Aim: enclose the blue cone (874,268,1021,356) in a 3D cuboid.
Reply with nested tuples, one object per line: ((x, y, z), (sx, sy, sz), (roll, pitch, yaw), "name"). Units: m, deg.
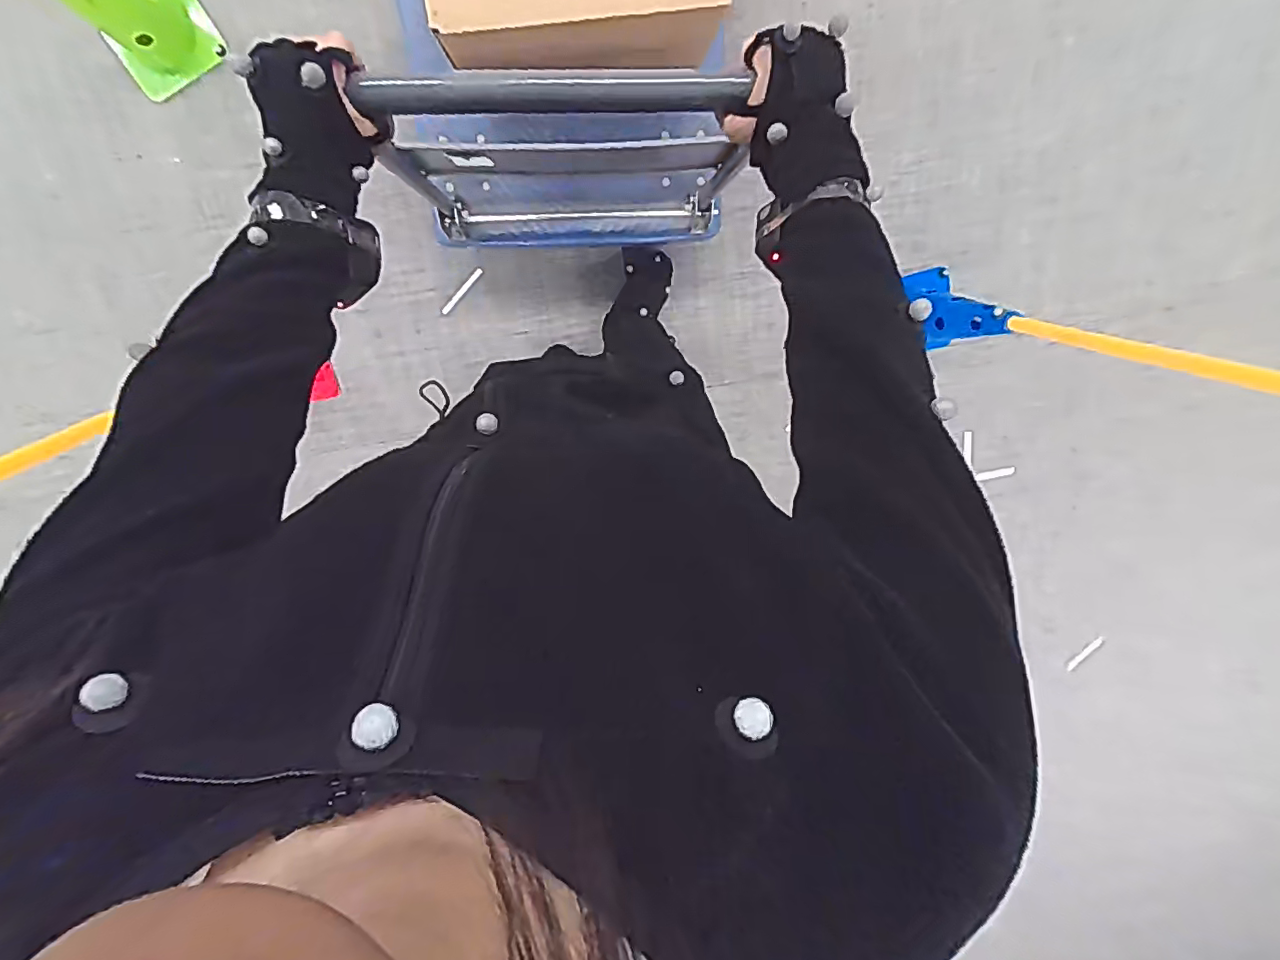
((0.706, -0.370, 1.217), (0.193, 0.380, 0.192), (-13, 109, 0), "blue cone")
